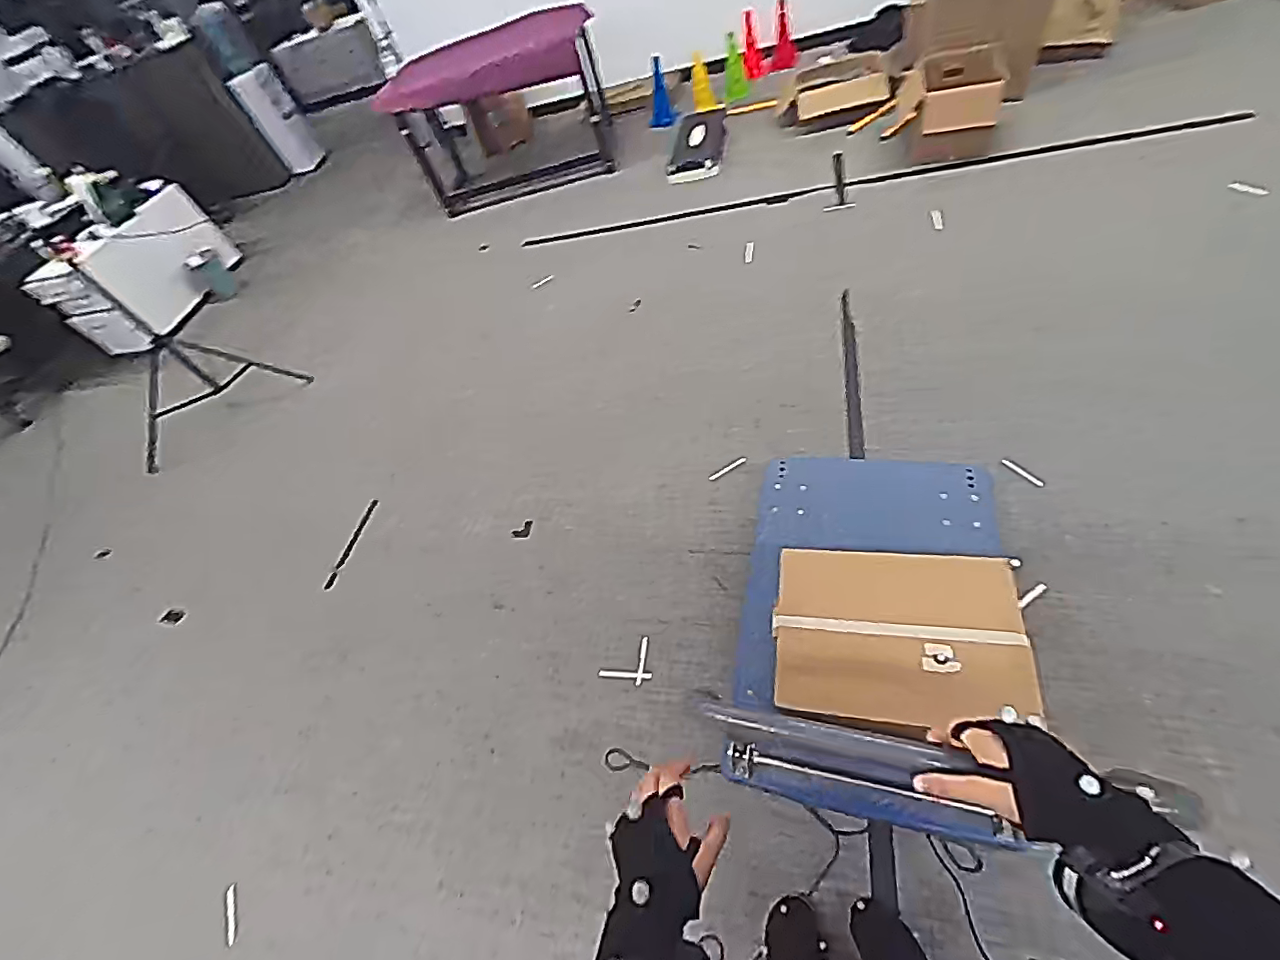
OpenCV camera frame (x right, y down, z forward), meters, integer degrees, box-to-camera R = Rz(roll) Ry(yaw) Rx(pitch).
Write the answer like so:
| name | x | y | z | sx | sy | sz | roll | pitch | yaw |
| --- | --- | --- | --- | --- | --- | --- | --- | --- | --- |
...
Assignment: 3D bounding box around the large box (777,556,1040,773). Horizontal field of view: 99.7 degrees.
| name | x | y | z | sx | sy | sz | roll | pitch | yaw |
| --- | --- | --- | --- | --- | --- | --- | --- | --- | --- |
| large box | 0.486 | 0.367 | 1.085 | 0.408 | 0.320 | 0.320 | 0 | 55 | 17 |
